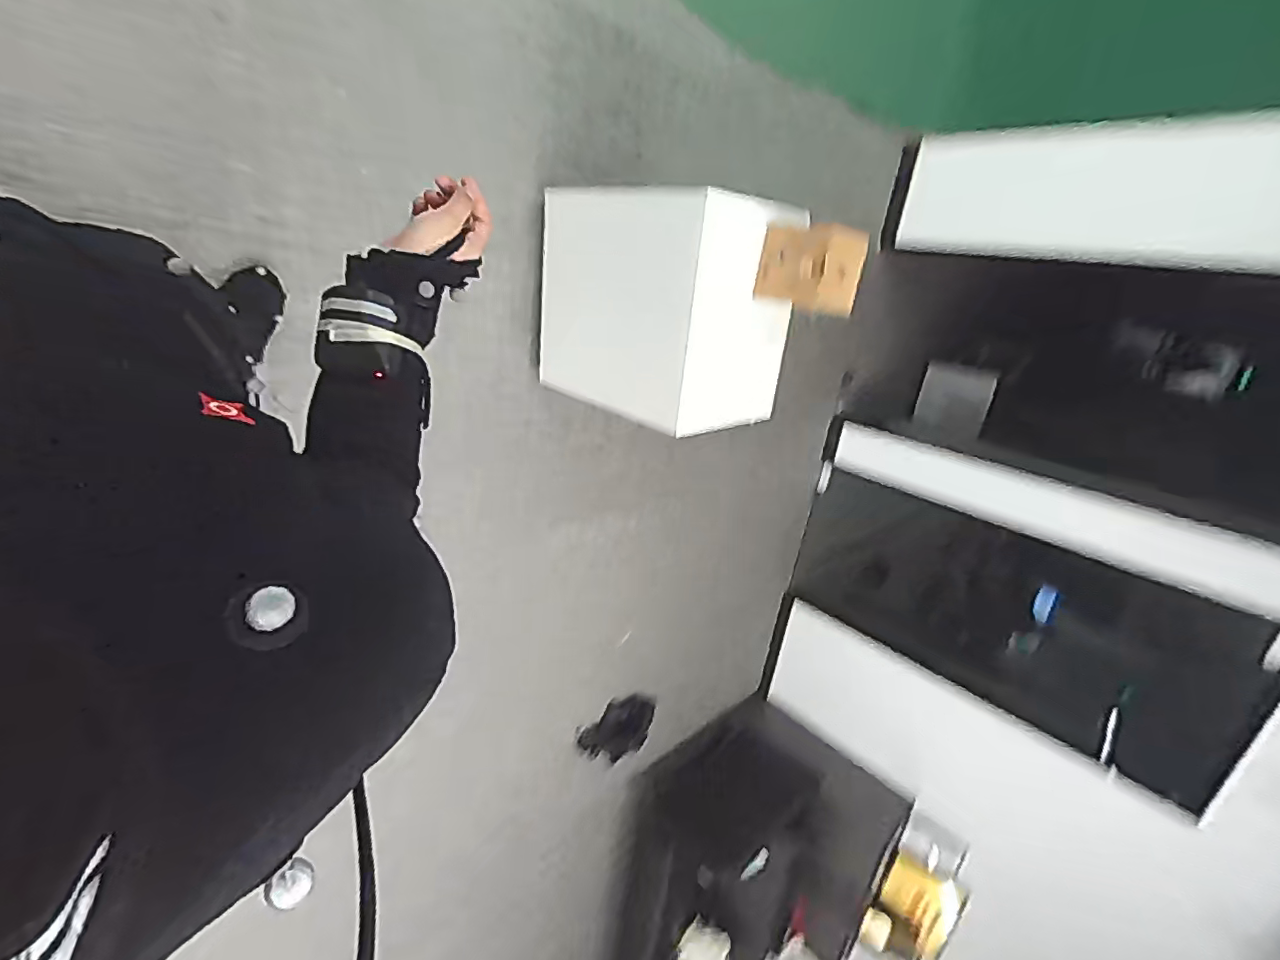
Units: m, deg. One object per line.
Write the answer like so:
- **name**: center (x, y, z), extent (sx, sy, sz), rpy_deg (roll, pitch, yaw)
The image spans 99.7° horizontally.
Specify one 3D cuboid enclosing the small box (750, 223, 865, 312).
- **small box**: center (0.384, -0.492, 1.250), extent (0.179, 0.176, 0.168), rpy_deg (-12, 120, -43)
